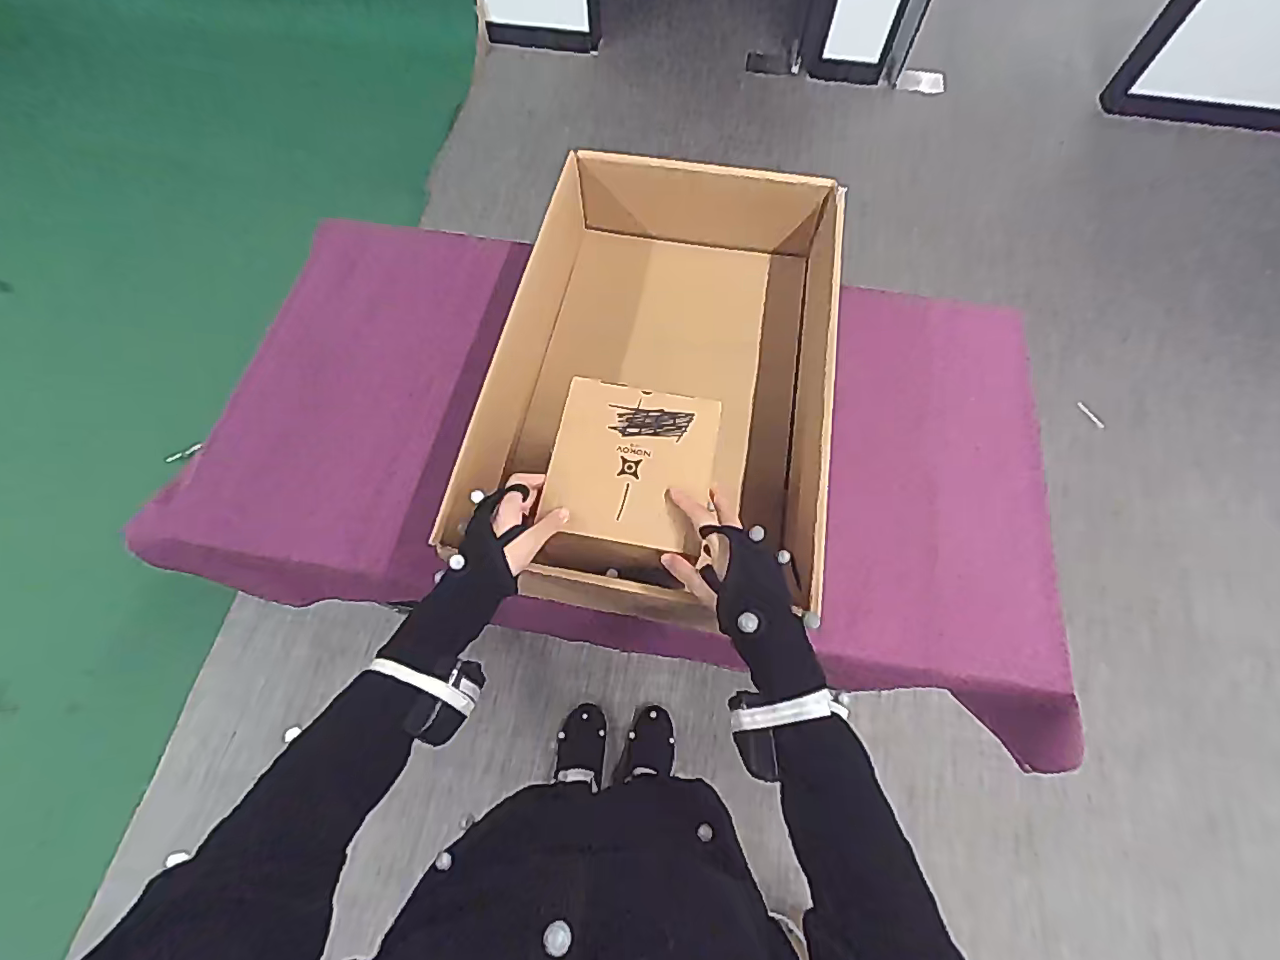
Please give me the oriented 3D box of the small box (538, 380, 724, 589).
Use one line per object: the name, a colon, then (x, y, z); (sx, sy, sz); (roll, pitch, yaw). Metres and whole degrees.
small box: (-0.006, 0.013, 0.626); (0.168, 0.176, 0.179); (10, 68, 4)
